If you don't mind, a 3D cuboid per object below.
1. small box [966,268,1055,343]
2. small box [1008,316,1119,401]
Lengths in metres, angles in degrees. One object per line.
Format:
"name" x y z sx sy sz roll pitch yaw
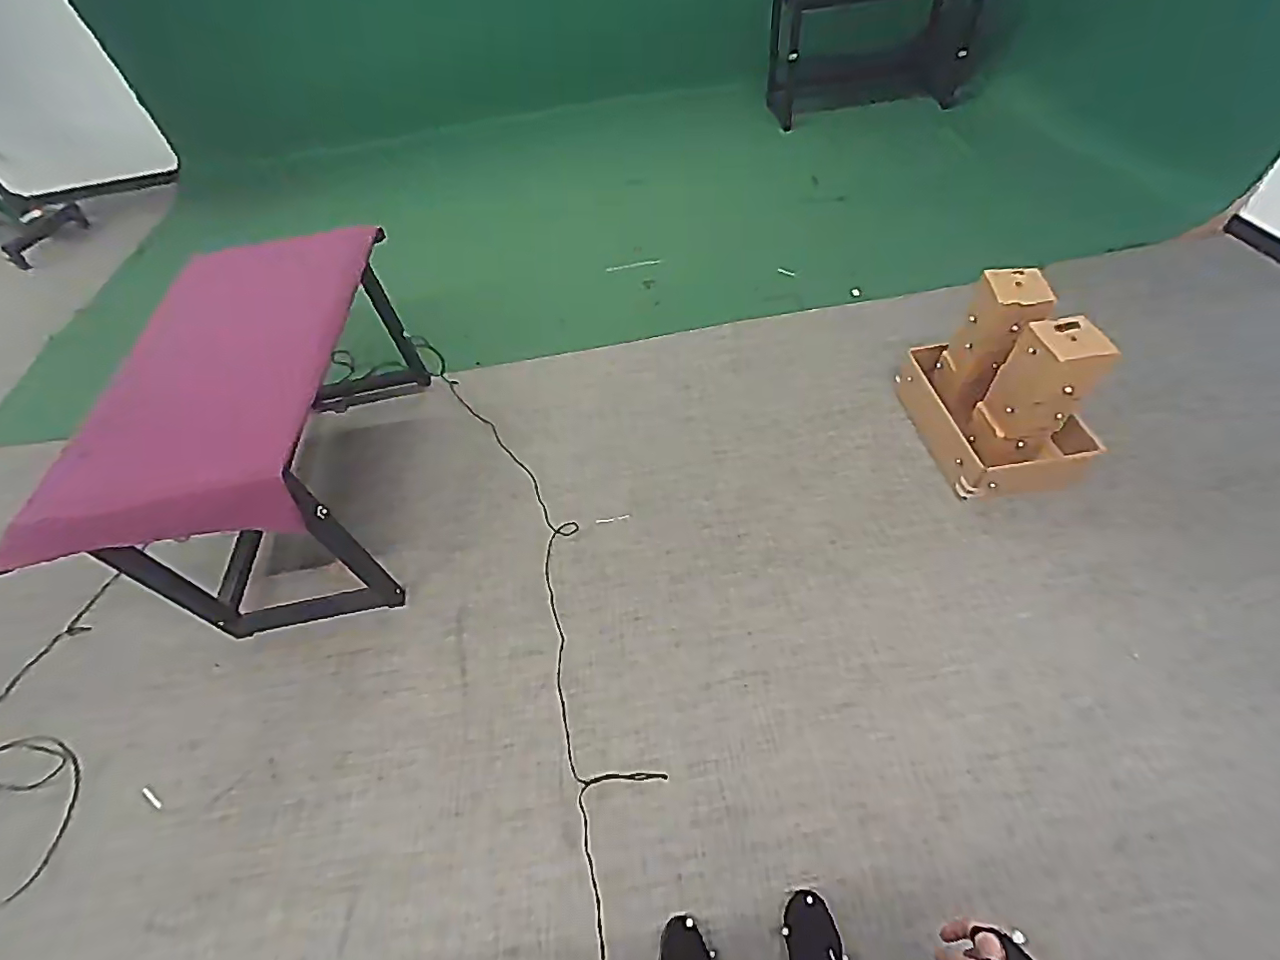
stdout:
"small box" 1.198 -0.563 1.761 0.168 0.176 0.179 1 55 8
"small box" 1.240 -0.358 1.601 0.168 0.176 0.179 -8 52 2
